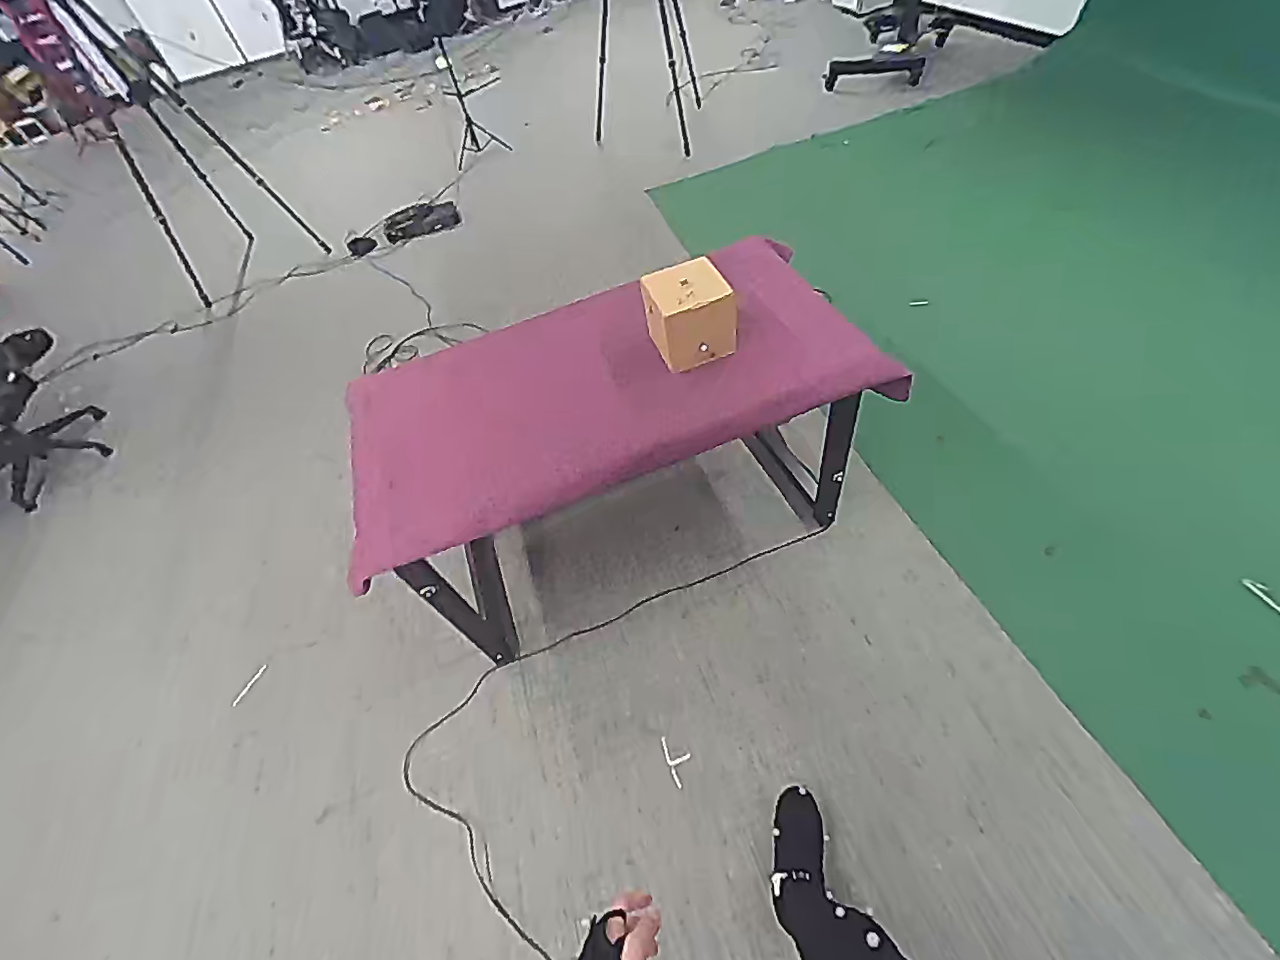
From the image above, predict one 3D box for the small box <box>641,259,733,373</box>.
[{"bbox_3d":[0.113,-0.385,1.281,0.168,0.176,0.179,-20,52,-3],"label":"small box"}]
